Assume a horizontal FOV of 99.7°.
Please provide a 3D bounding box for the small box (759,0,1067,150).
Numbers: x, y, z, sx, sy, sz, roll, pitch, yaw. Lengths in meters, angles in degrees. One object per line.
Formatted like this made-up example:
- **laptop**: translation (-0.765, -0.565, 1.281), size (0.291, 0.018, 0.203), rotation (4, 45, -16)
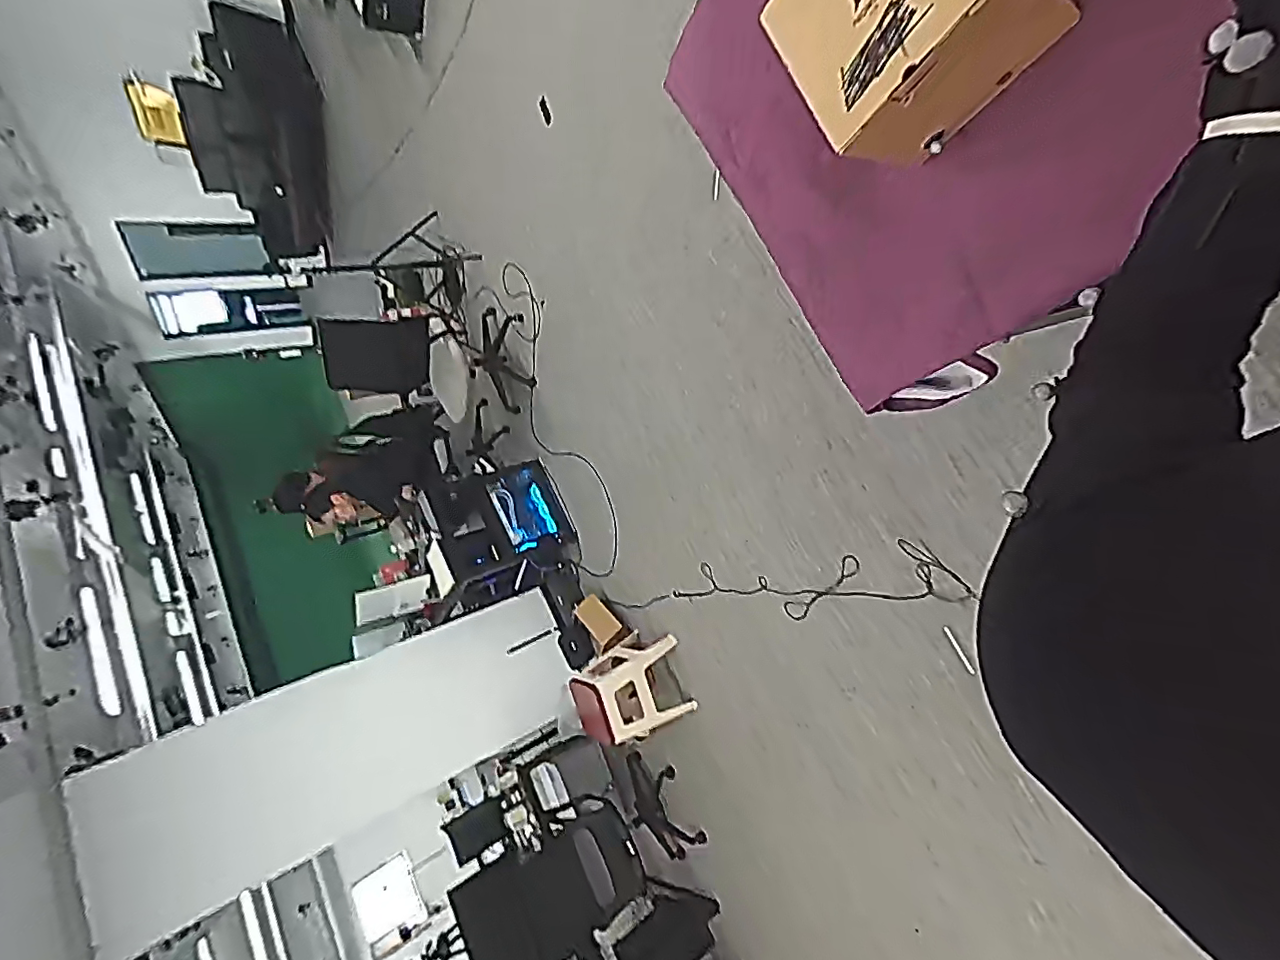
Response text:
- **small box**: translation (0.255, -0.448, 0.514), size (0.168, 0.176, 0.179), rotation (-36, 75, 55)
